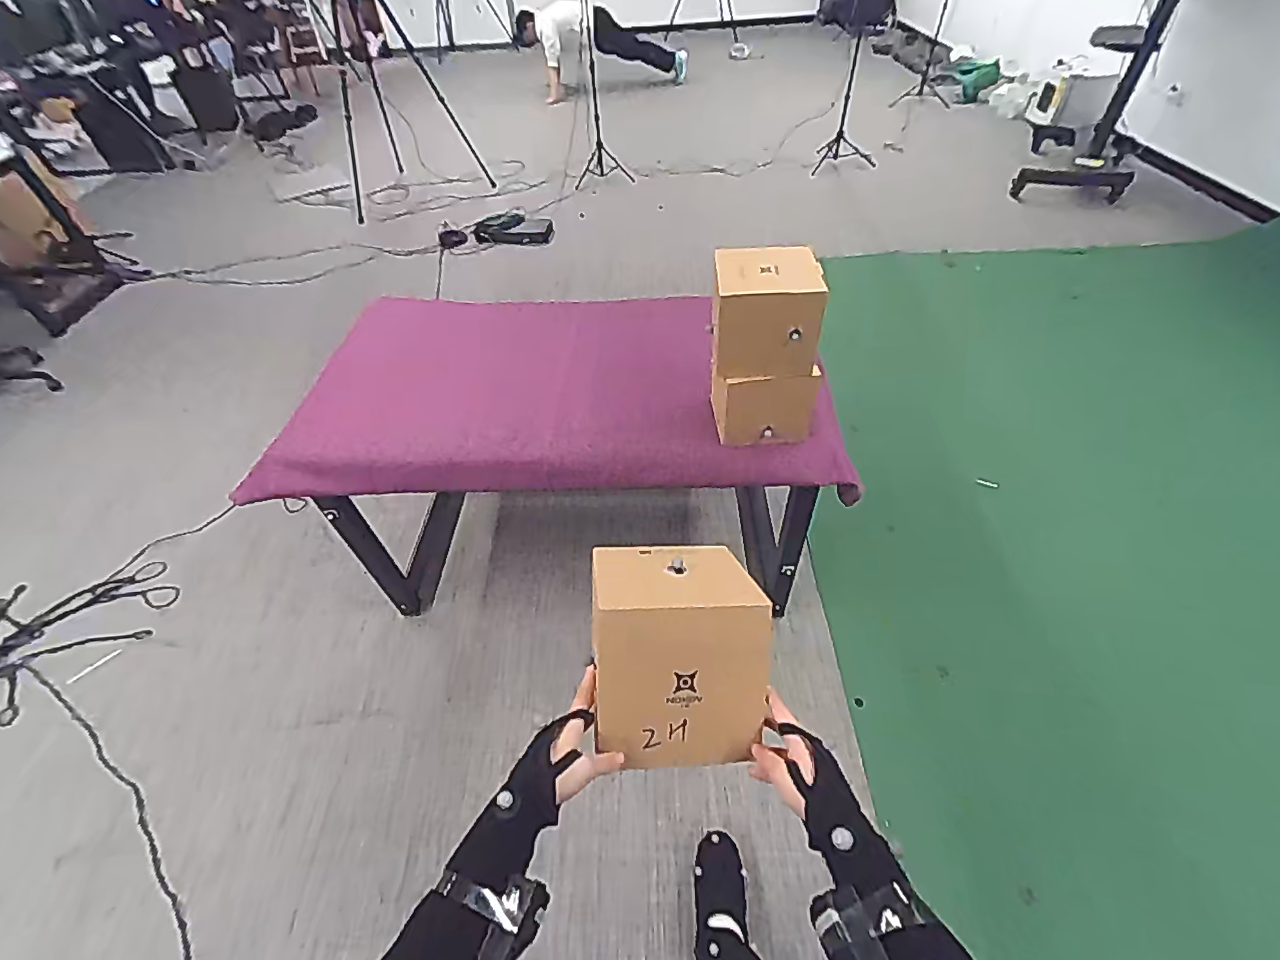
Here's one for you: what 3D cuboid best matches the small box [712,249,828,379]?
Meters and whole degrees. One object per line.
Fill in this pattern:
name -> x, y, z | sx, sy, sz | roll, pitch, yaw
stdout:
small box -> 0.223, -0.296, 0.976 | 0.179, 0.176, 0.168 | -1, 47, 5

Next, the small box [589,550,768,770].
small box -> 0.030, 0.182, 0.595 | 0.168, 0.179, 0.176 | 0, 12, -7

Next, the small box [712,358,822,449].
small box -> 0.245, -0.180, 1.090 | 0.179, 0.176, 0.168 | -5, 47, 1
